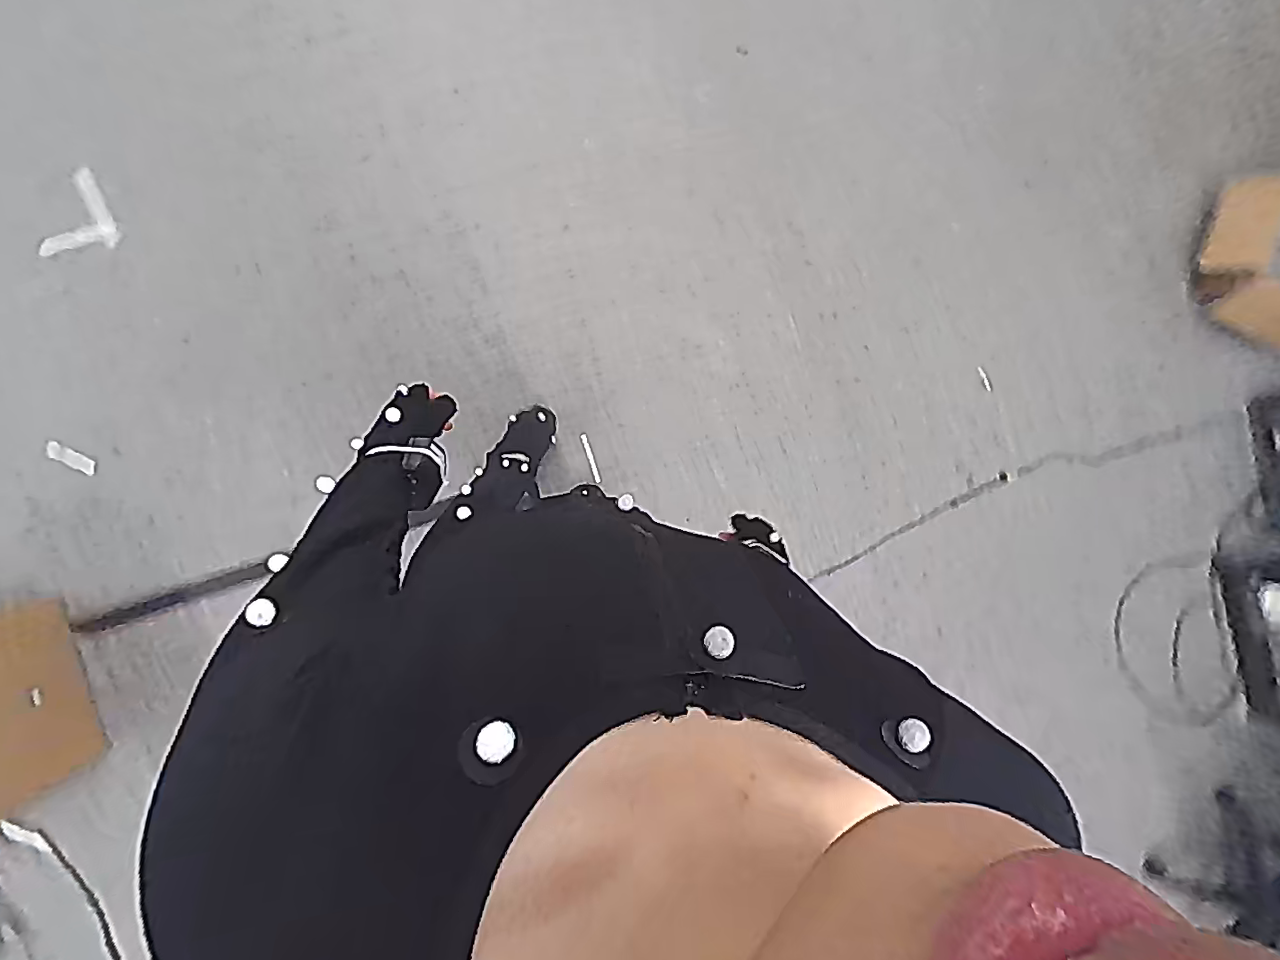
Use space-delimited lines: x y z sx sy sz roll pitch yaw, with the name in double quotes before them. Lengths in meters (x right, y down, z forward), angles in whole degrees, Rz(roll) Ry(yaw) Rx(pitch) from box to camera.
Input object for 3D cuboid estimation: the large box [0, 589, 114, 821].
"large box" -1.441 0.490 1.130 0.320 0.320 0.408 -14 96 -9
